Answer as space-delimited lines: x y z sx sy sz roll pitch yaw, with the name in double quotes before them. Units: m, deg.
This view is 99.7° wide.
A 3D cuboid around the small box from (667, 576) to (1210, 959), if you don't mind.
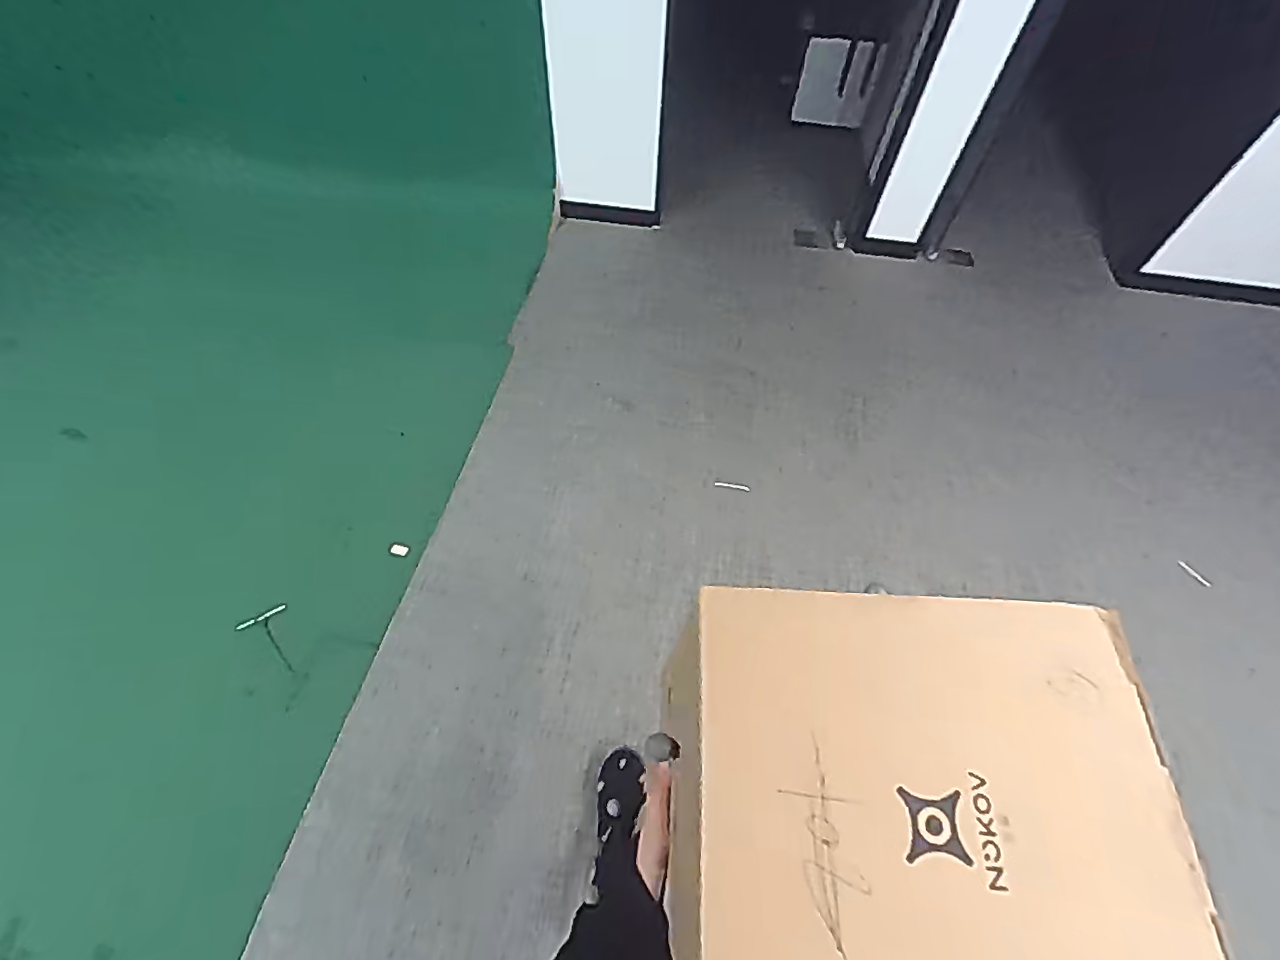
"small box" 0.106 0.153 0.271 0.179 0.176 0.168 2 65 2
